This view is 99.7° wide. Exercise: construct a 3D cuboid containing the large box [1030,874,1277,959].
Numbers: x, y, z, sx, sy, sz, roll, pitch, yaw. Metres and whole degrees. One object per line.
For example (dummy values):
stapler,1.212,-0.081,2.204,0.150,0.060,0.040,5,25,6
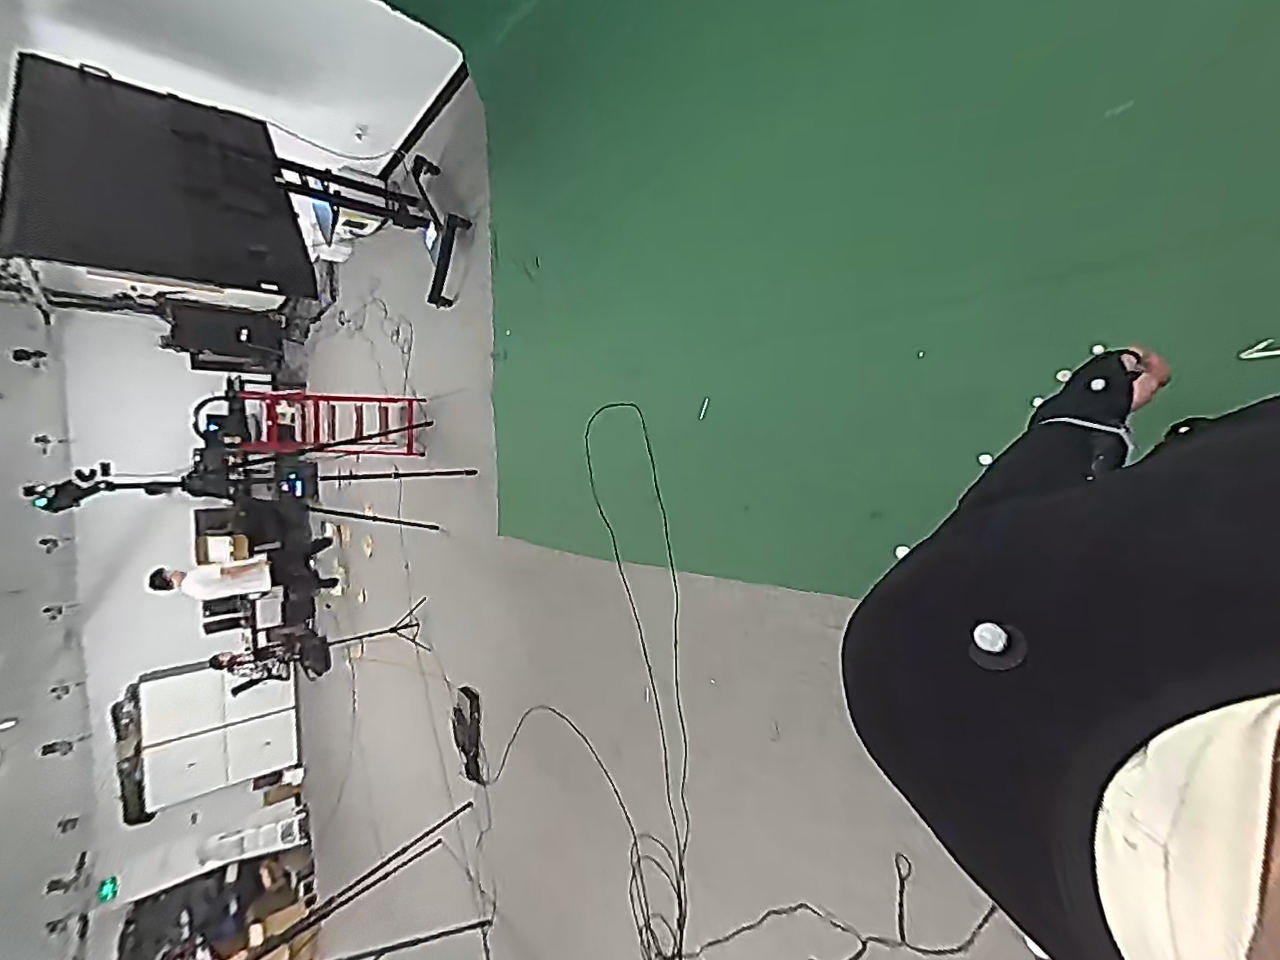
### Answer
large box,1.108,1.156,1.150,0.408,0.320,0.320,-1,92,47
